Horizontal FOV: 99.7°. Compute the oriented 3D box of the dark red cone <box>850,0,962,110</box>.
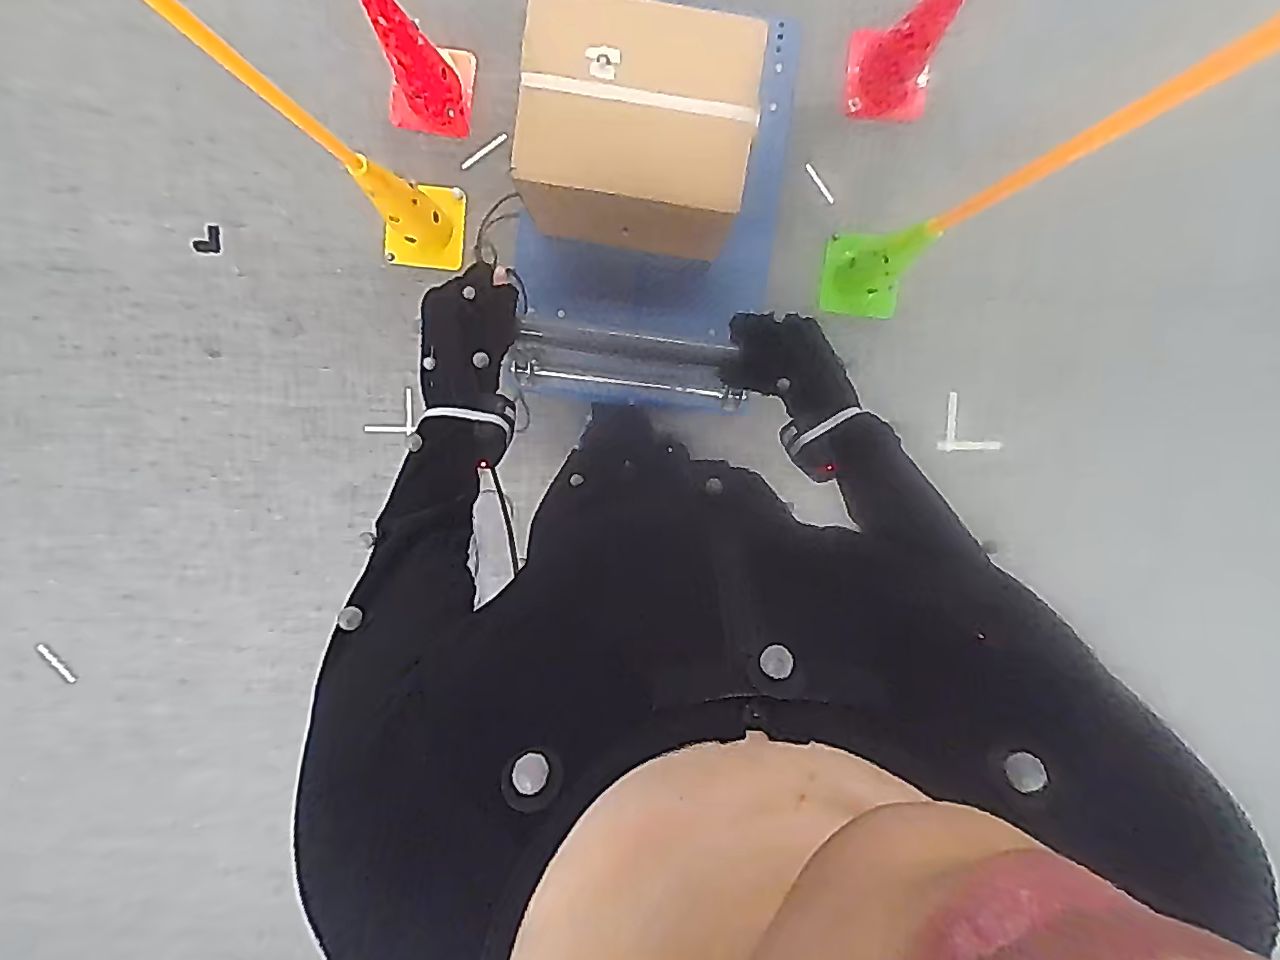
[{"bbox_3d":[0.618,-0.995,1.157,0.201,0.394,0.202,2,97,-2],"label":"dark red cone"}]

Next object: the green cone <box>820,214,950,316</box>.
[{"bbox_3d":[0.578,-0.517,1.232,0.202,0.368,0.200,6,97,-2],"label":"green cone"}]

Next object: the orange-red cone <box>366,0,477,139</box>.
[{"bbox_3d":[-0.515,-0.957,1.186,0.198,0.360,0.199,10,95,-2],"label":"orange-red cone"}]

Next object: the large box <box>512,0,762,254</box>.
[{"bbox_3d":[-0.005,-0.666,1.072,0.408,0.320,0.320,8,97,-1],"label":"large box"}]
